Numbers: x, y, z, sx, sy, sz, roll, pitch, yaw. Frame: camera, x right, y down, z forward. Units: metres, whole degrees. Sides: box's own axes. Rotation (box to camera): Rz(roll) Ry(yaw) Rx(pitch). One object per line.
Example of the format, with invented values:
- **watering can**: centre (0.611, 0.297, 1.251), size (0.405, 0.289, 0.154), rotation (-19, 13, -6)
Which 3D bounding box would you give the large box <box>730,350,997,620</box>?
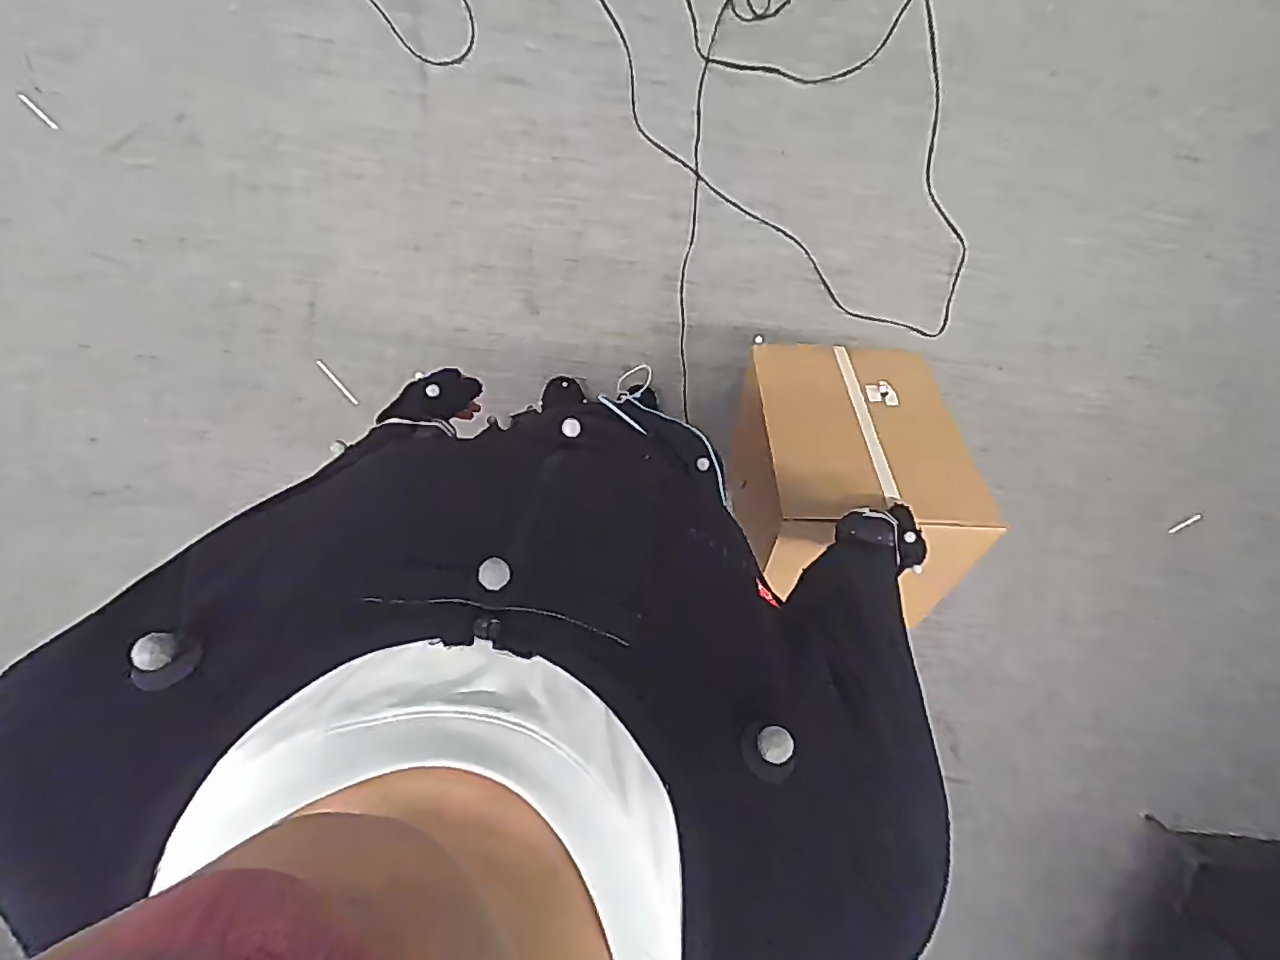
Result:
- **large box**: centre (0.353, 0.010, 0.998), size (0.320, 0.408, 0.320), rotation (3, 139, 0)
